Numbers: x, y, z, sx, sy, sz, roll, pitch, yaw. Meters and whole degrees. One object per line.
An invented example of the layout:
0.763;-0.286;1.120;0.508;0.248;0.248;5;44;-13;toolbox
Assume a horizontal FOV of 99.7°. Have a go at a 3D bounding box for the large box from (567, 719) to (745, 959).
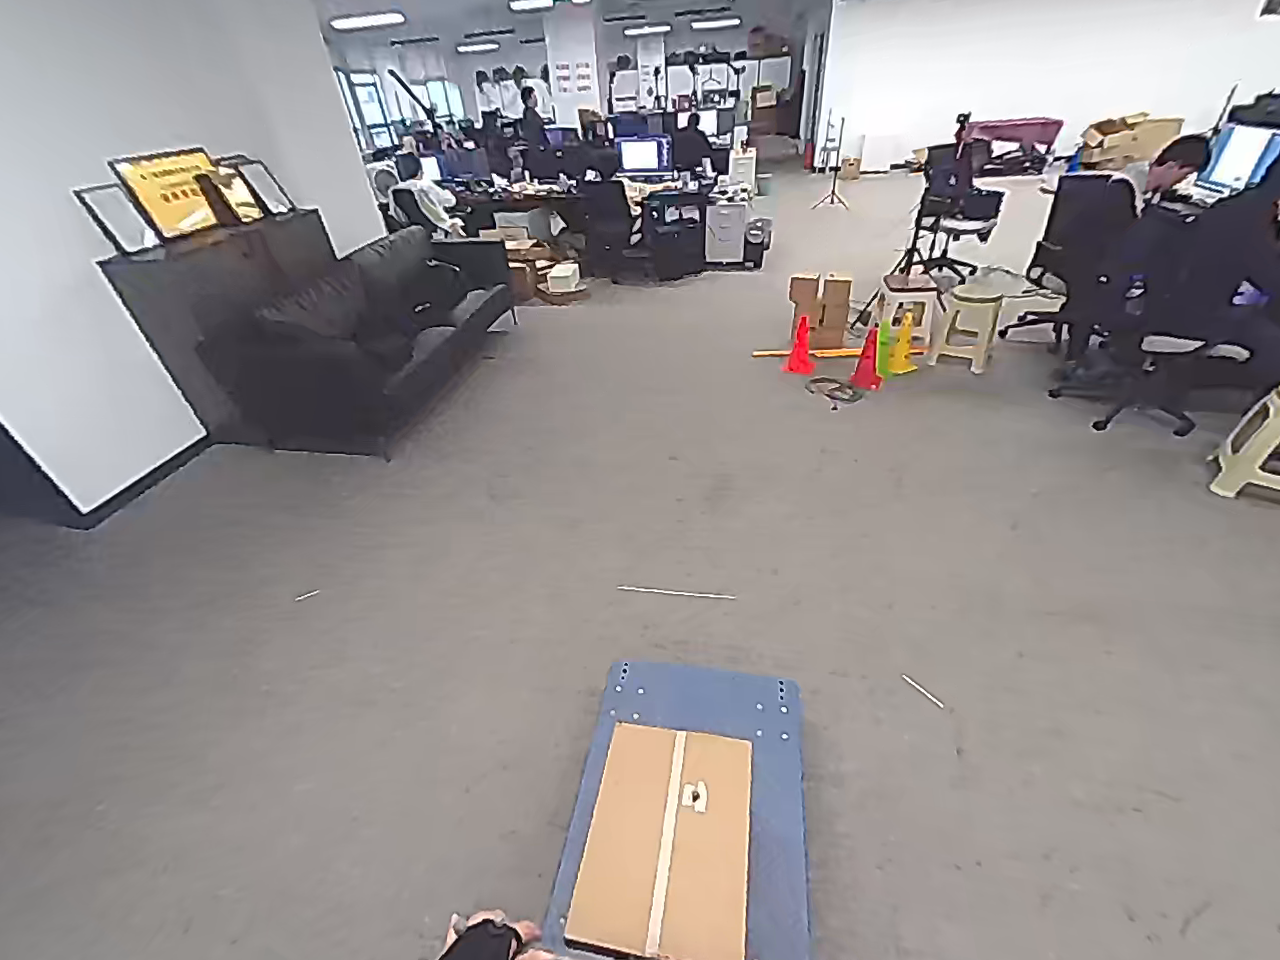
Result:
0.063;0.804;1.171;0.320;0.320;0.408;4;36;11;large box
